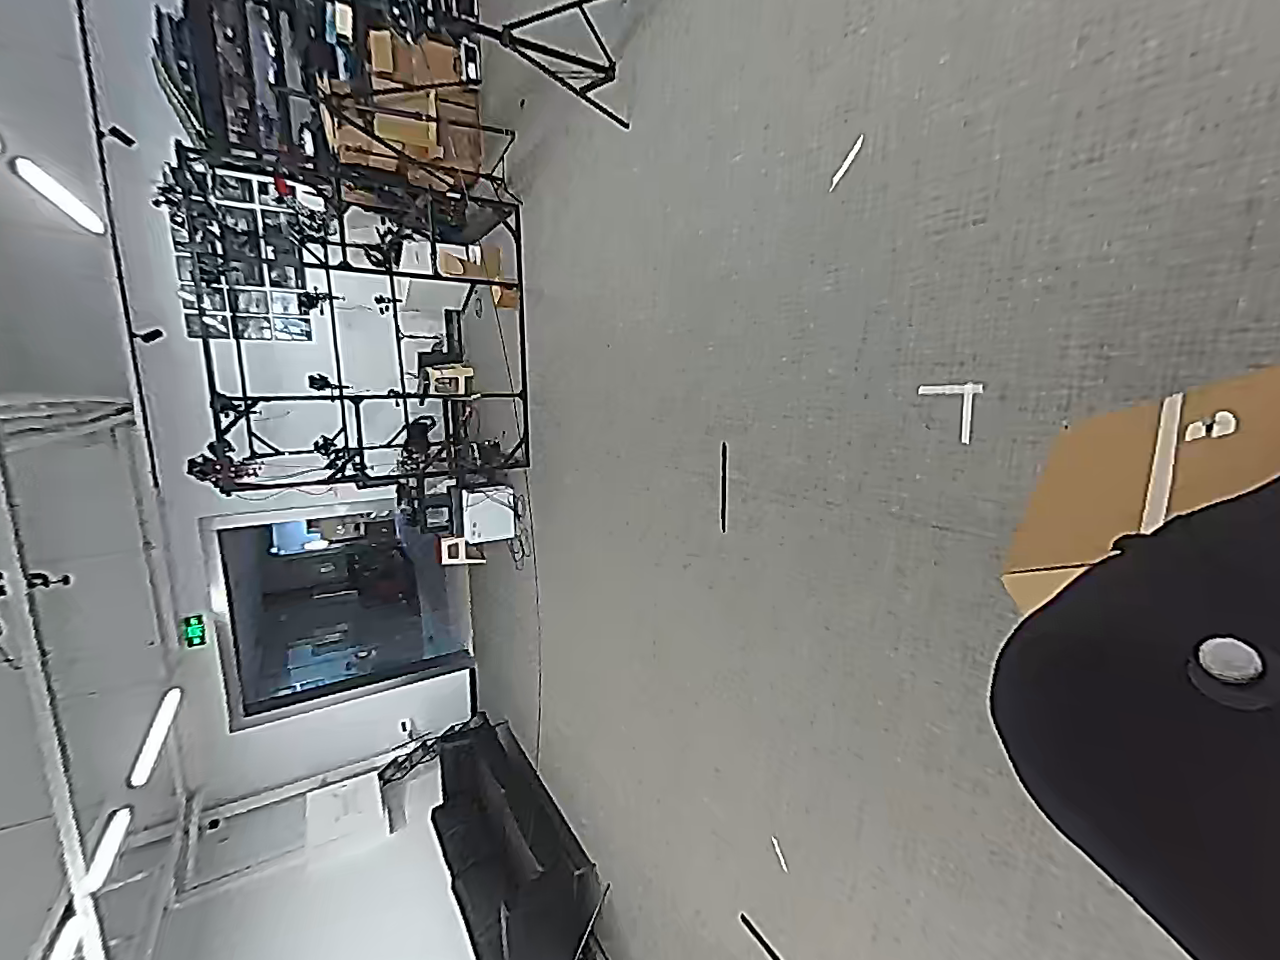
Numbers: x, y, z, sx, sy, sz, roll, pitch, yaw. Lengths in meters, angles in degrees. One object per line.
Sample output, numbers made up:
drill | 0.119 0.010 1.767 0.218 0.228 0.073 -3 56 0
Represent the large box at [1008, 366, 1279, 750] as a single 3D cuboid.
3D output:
large box | 0.784 0.099 0.728 0.320 0.408 0.320 55 147 -6
